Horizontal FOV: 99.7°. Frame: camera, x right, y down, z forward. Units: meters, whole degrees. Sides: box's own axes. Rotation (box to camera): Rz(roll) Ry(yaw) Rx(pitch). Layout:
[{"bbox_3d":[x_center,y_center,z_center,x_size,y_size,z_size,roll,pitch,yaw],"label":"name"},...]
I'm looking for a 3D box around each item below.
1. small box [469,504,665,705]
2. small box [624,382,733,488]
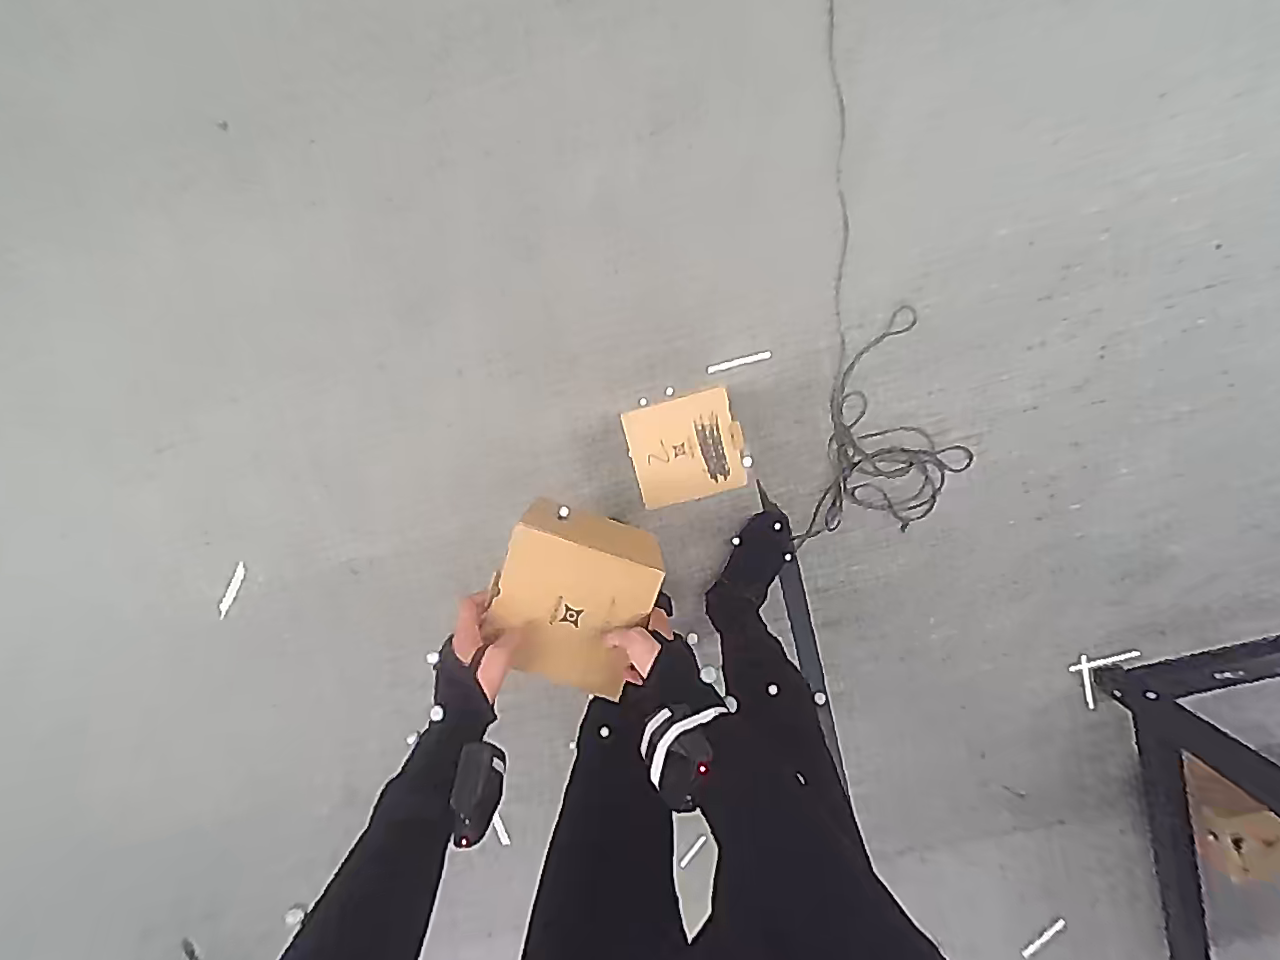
[{"bbox_3d":[-0.082,0.138,0.667,0.179,0.176,0.168,19,98,-4],"label":"small box"},{"bbox_3d":[0.079,-0.094,1.101,0.179,0.176,0.168,-16,99,6],"label":"small box"}]
